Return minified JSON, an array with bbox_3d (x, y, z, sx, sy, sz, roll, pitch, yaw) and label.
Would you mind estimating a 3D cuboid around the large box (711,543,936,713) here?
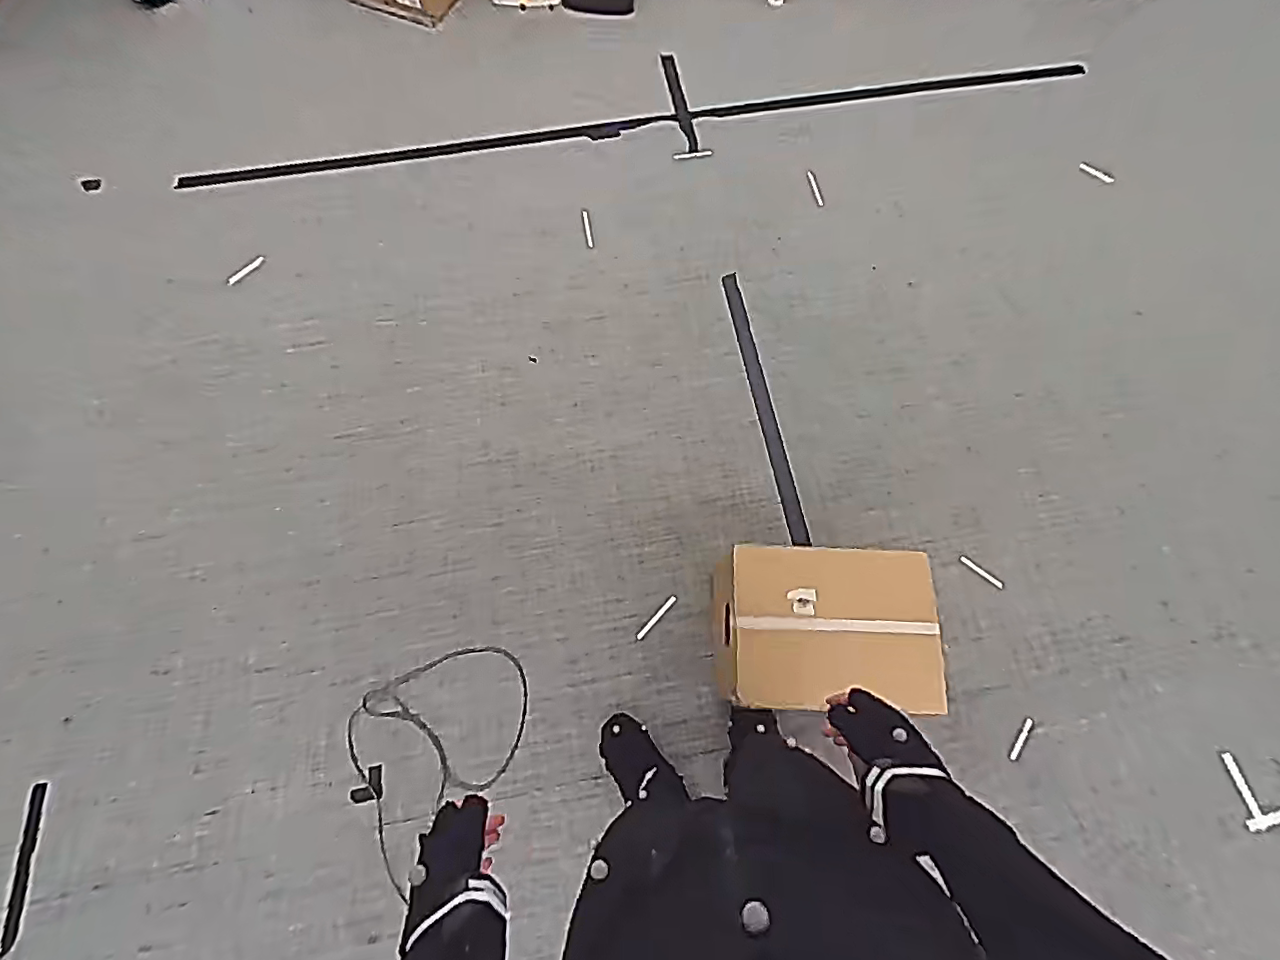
[{"bbox_3d":[0.383,0.331,1.224,0.408,0.320,0.320,4,72,2],"label":"large box"}]
